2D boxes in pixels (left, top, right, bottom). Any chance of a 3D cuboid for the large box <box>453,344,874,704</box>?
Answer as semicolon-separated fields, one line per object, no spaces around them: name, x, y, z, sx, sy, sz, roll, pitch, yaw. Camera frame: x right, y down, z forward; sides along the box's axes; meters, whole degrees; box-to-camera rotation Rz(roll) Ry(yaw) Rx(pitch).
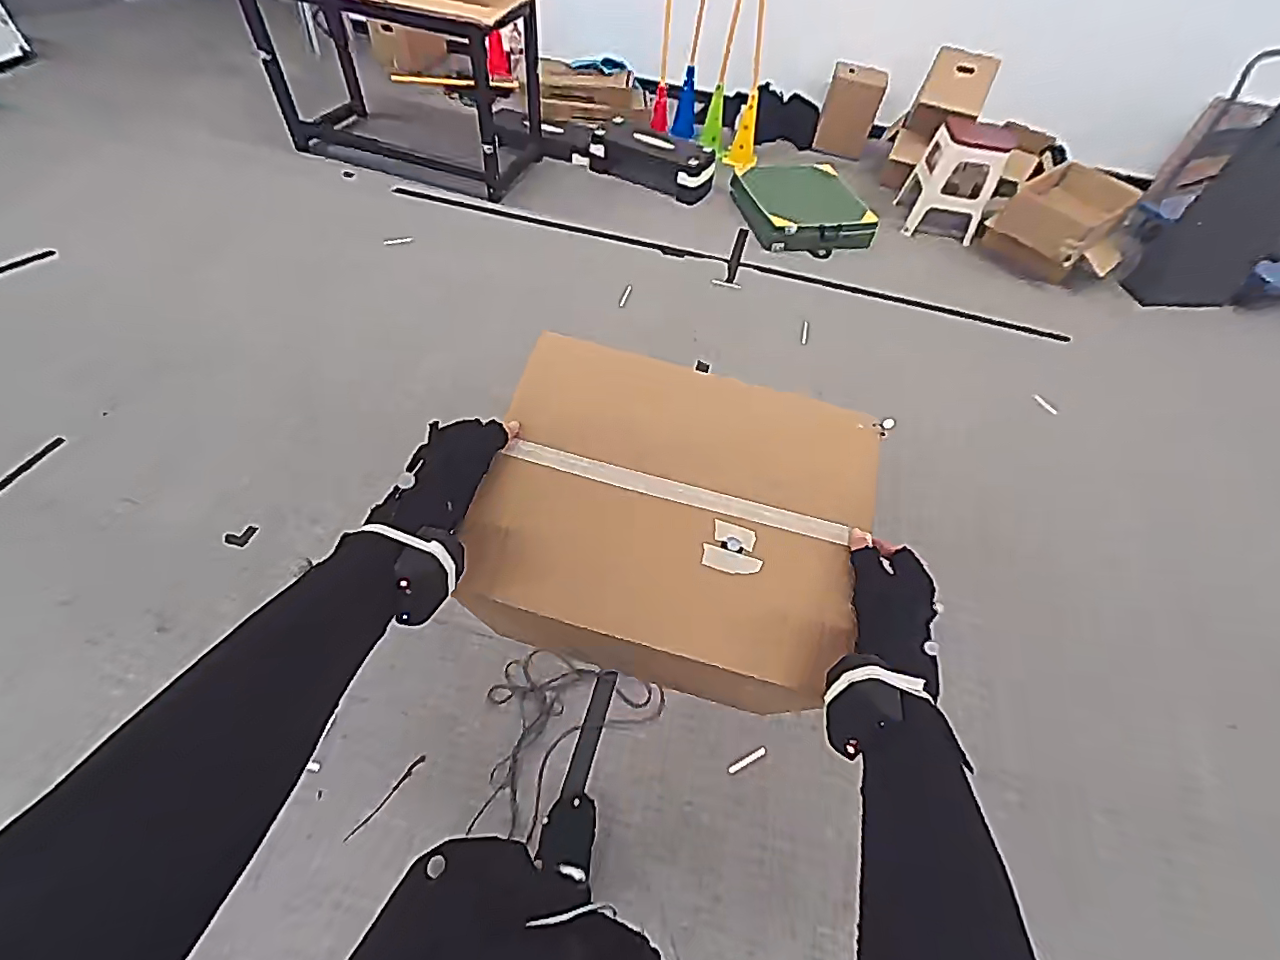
large box;0.034;0.077;0.713;0.408;0.320;0.320;16;66;4
